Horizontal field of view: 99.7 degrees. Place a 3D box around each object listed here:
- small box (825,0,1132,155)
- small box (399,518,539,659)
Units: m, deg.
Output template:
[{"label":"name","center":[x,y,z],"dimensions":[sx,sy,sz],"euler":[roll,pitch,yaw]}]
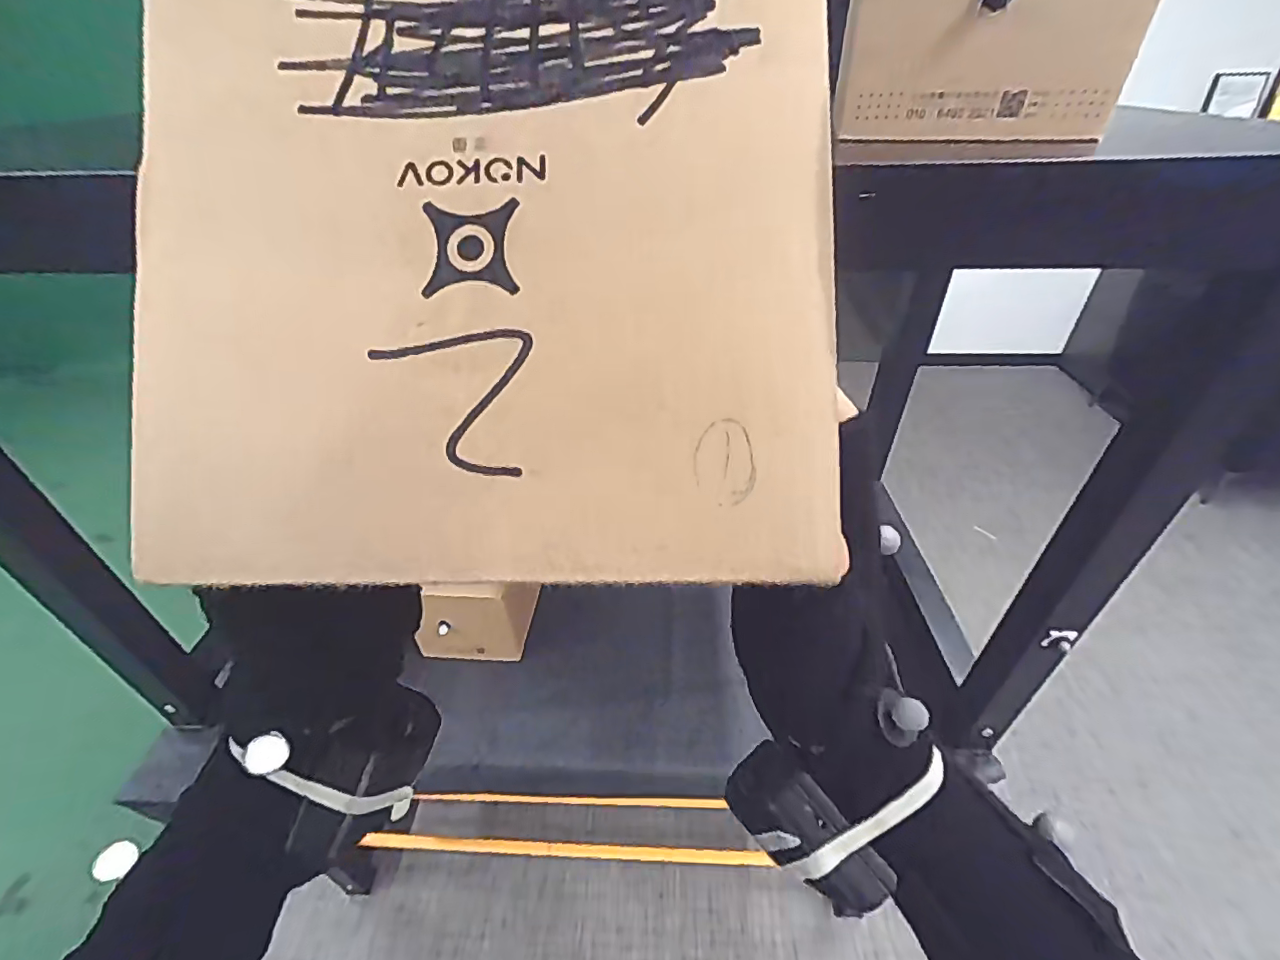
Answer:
[{"label":"small box","center":[0.237,-0.345,0.397],"dimensions":[0.168,0.176,0.179],"euler":[8,38,11]},{"label":"small box","center":[-0.277,0.185,0.924],"dimensions":[0.168,0.176,0.179],"euler":[2,37,3]}]
